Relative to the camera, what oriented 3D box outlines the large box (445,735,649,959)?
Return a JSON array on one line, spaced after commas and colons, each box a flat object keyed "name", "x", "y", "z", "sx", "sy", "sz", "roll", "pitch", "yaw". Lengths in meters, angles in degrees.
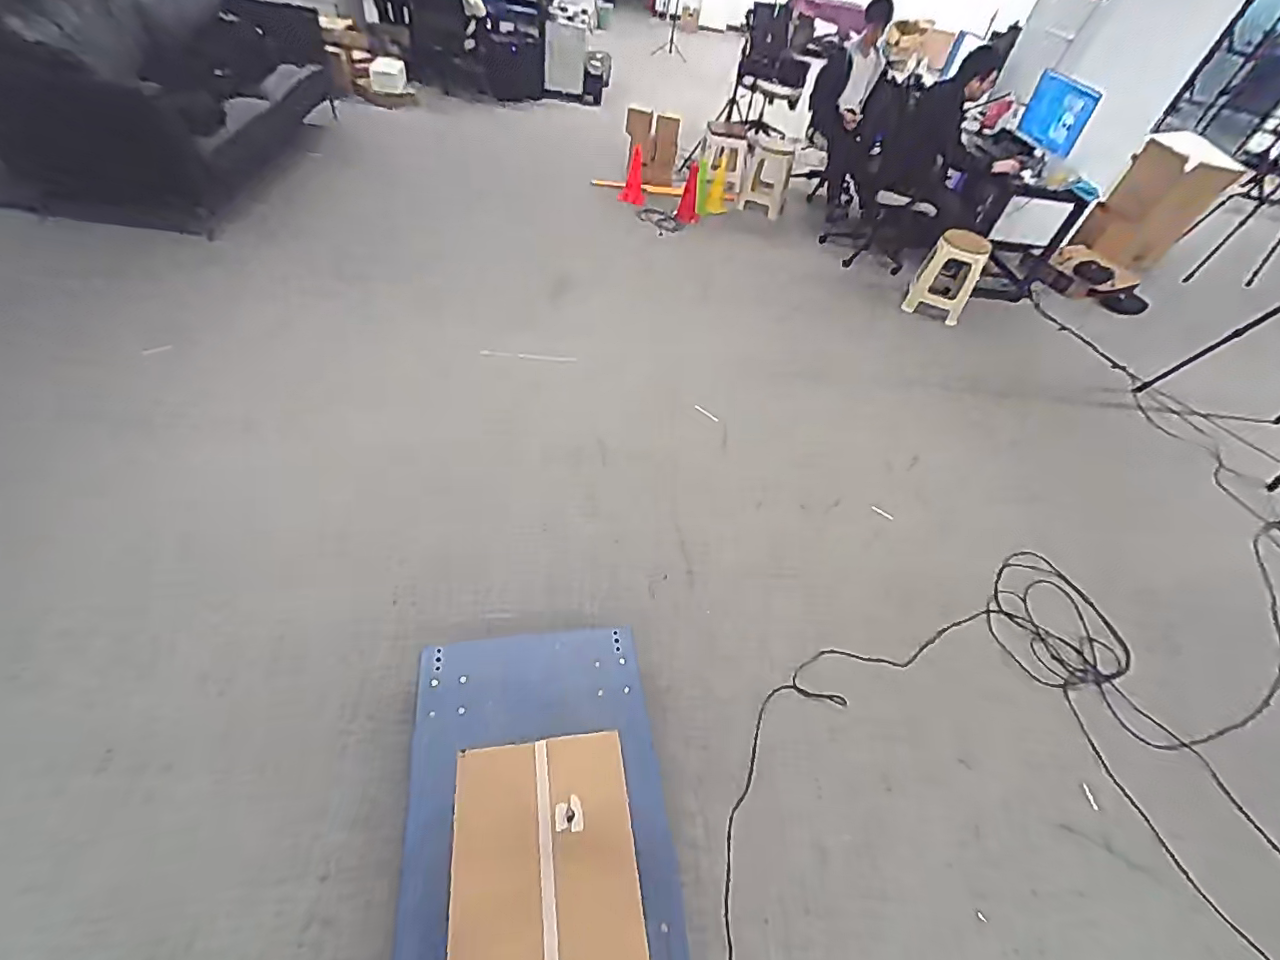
[{"name": "large box", "x": -0.182, "y": 0.764, "z": 1.029, "sx": 0.320, "sy": 0.320, "sz": 0.408, "roll": -1, "pitch": 47, "yaw": -13}]
